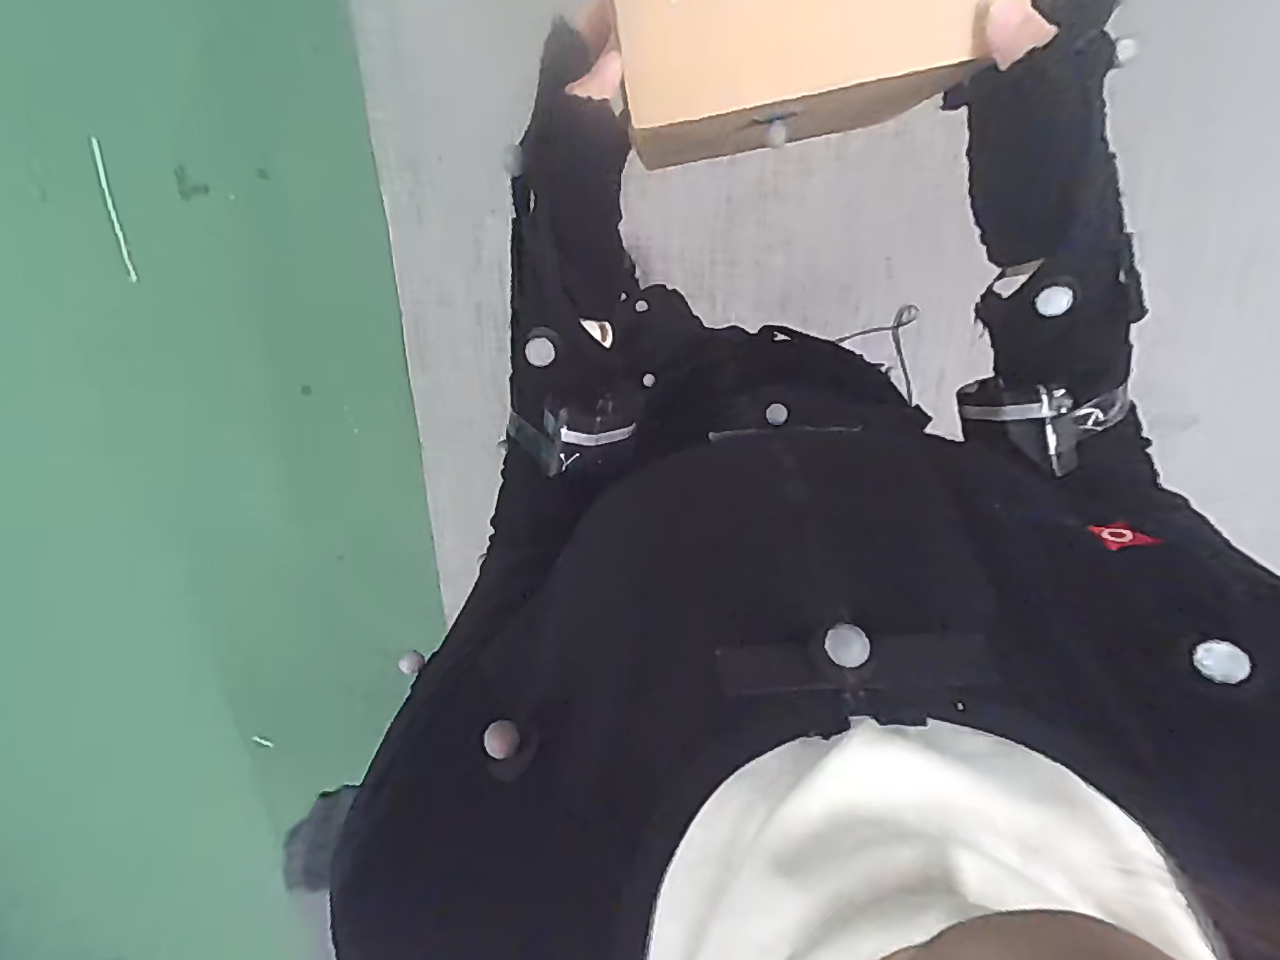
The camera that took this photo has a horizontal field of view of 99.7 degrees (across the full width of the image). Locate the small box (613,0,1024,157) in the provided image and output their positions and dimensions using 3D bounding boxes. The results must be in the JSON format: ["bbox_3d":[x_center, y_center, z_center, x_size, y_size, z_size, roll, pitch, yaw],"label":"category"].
[{"bbox_3d":[0.074,-0.289,0.289,0.179,0.176,0.168,-7,114,7],"label":"small box"}]
